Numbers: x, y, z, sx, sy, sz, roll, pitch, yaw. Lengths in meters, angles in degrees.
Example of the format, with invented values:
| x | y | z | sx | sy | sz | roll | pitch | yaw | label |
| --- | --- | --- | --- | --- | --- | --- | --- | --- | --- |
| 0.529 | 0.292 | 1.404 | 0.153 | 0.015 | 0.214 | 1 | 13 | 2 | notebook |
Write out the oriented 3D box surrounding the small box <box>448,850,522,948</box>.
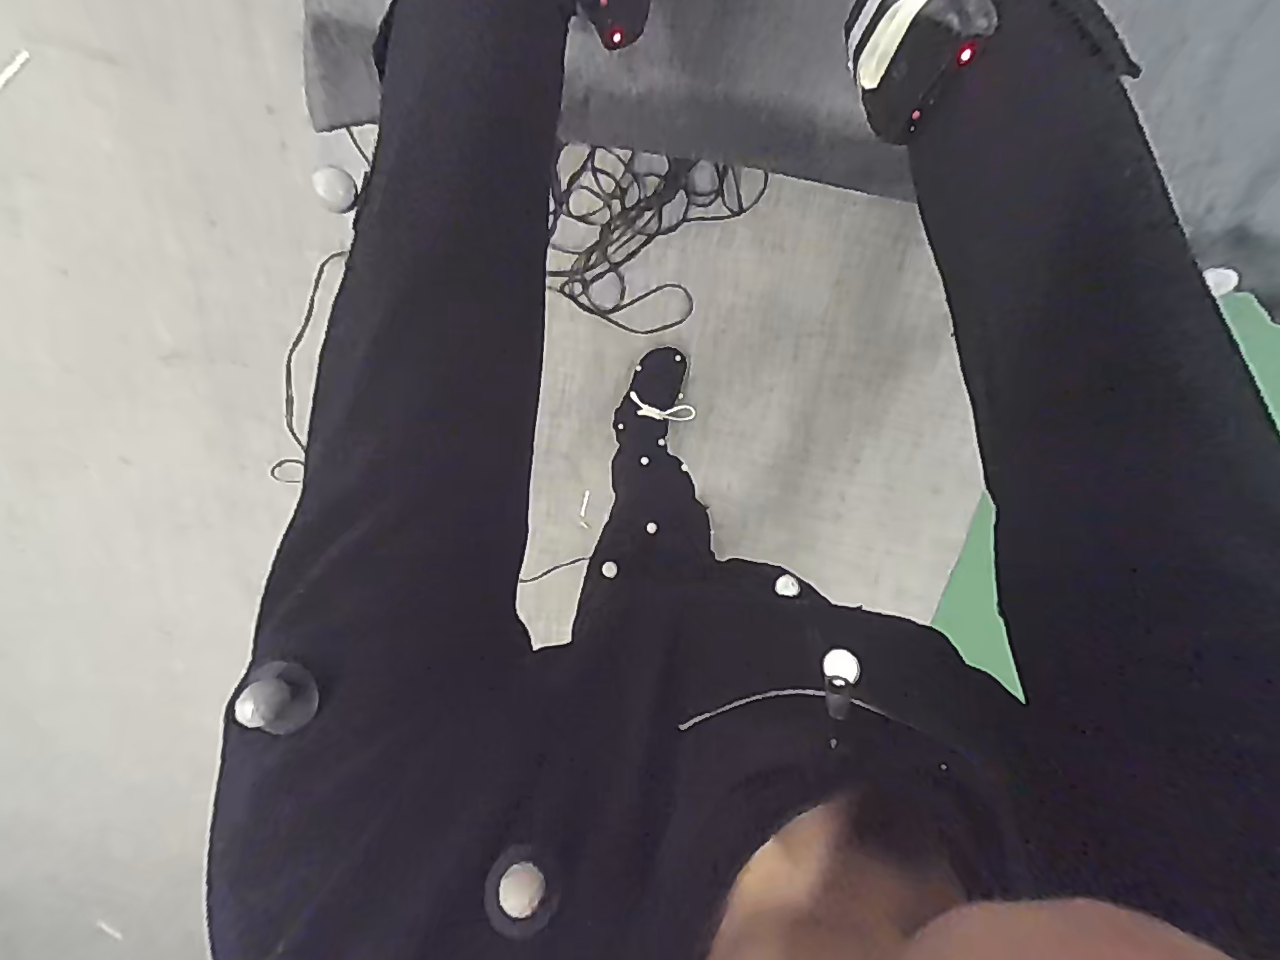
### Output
| x | y | z | sx | sy | sz | roll | pitch | yaw | label |
| --- | --- | --- | --- | --- | --- | --- | --- | --- | --- |
| -0.457 | 1.246 | 1.615 | 0.179 | 0.176 | 0.168 | 8 | 108 | -4 | small box |
